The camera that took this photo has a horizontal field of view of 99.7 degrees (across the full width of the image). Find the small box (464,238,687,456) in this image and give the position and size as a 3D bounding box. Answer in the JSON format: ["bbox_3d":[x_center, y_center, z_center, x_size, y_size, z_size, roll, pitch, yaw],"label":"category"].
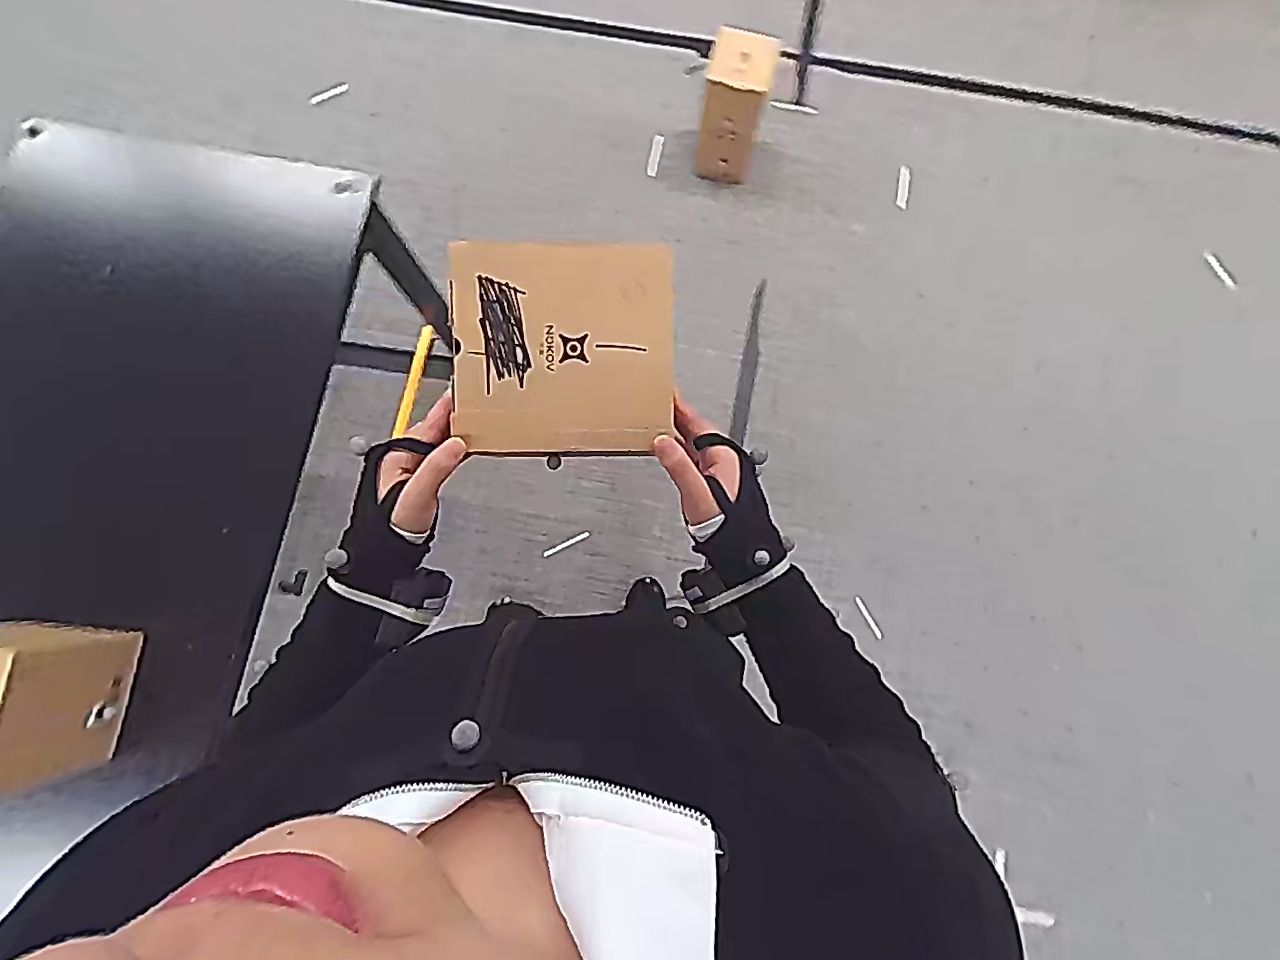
[{"bbox_3d":[-0.053,-0.108,0.505,0.179,0.176,0.168,0,92,-3],"label":"small box"}]

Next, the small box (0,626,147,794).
[{"bbox_3d":[-0.785,0.277,0.670,0.179,0.176,0.168,4,81,-1],"label":"small box"}]

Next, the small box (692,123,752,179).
[{"bbox_3d":[0.255,-1.062,1.656,0.168,0.176,0.179,9,81,1],"label":"small box"}]

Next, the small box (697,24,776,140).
[{"bbox_3d":[0.259,-1.093,1.493,0.168,0.176,0.179,15,81,2],"label":"small box"}]
